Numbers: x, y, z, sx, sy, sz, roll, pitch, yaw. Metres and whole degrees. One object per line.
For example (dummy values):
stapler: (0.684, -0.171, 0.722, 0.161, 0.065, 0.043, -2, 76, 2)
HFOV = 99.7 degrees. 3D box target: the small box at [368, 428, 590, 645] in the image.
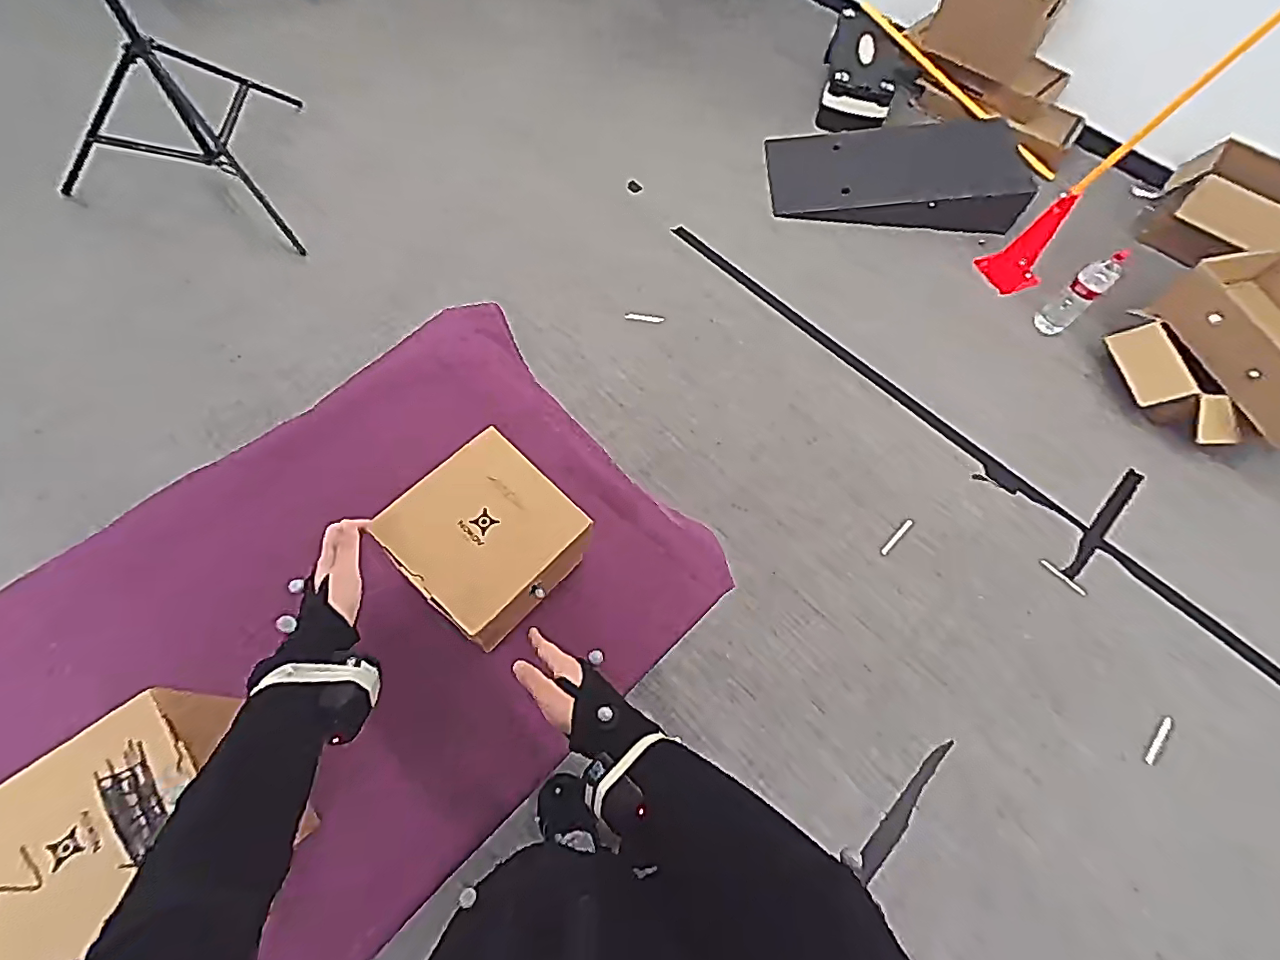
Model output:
small box: (-0.180, 0.078, 0.650, 0.168, 0.176, 0.179, 42, 67, 7)
